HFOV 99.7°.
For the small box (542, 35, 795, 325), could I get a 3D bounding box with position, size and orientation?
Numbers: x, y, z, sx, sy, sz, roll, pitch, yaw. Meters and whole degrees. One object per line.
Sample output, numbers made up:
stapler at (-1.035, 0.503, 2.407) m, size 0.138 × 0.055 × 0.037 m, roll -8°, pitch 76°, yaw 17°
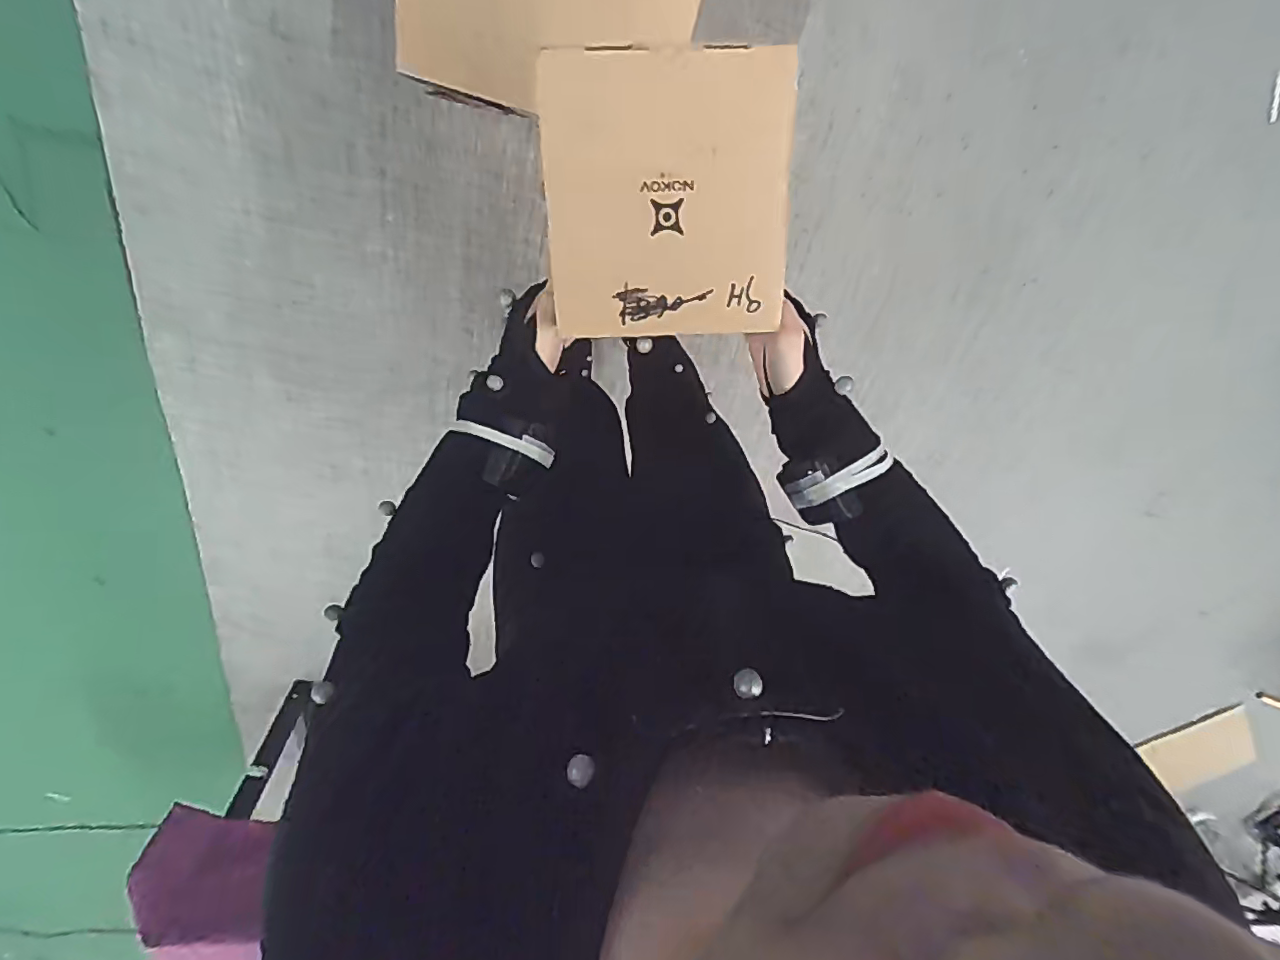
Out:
small box at (0.014, -0.223, 0.443) m, size 0.168 × 0.176 × 0.179 m, roll -1°, pitch 111°, yaw -2°
